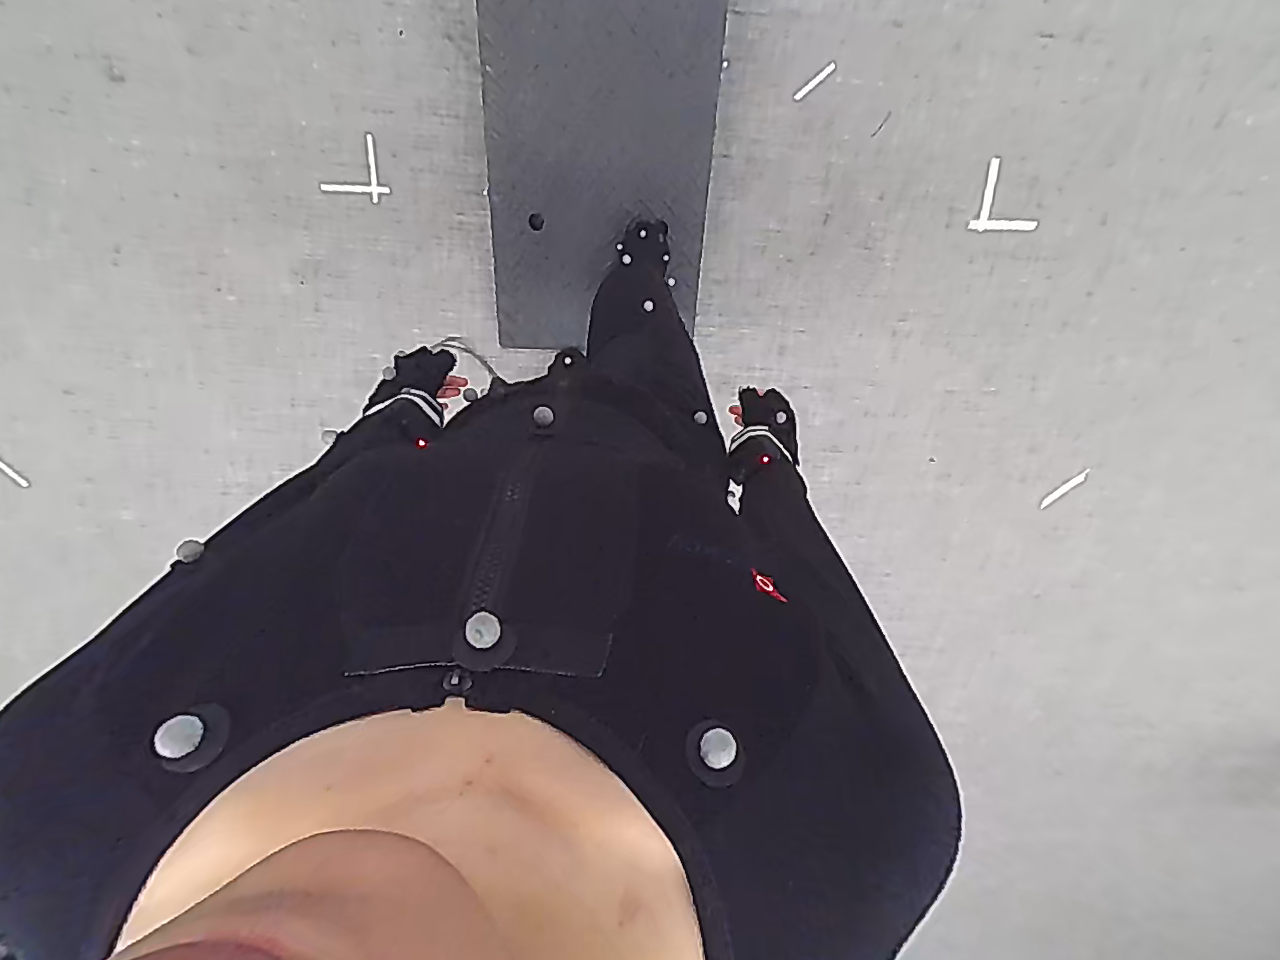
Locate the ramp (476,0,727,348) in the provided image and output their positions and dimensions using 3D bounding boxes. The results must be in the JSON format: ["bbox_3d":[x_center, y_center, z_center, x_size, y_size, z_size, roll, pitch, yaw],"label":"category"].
[{"bbox_3d":[-0.080,-0.778,1.138,0.509,0.206,0.991,0,110,-4],"label":"ramp"}]
